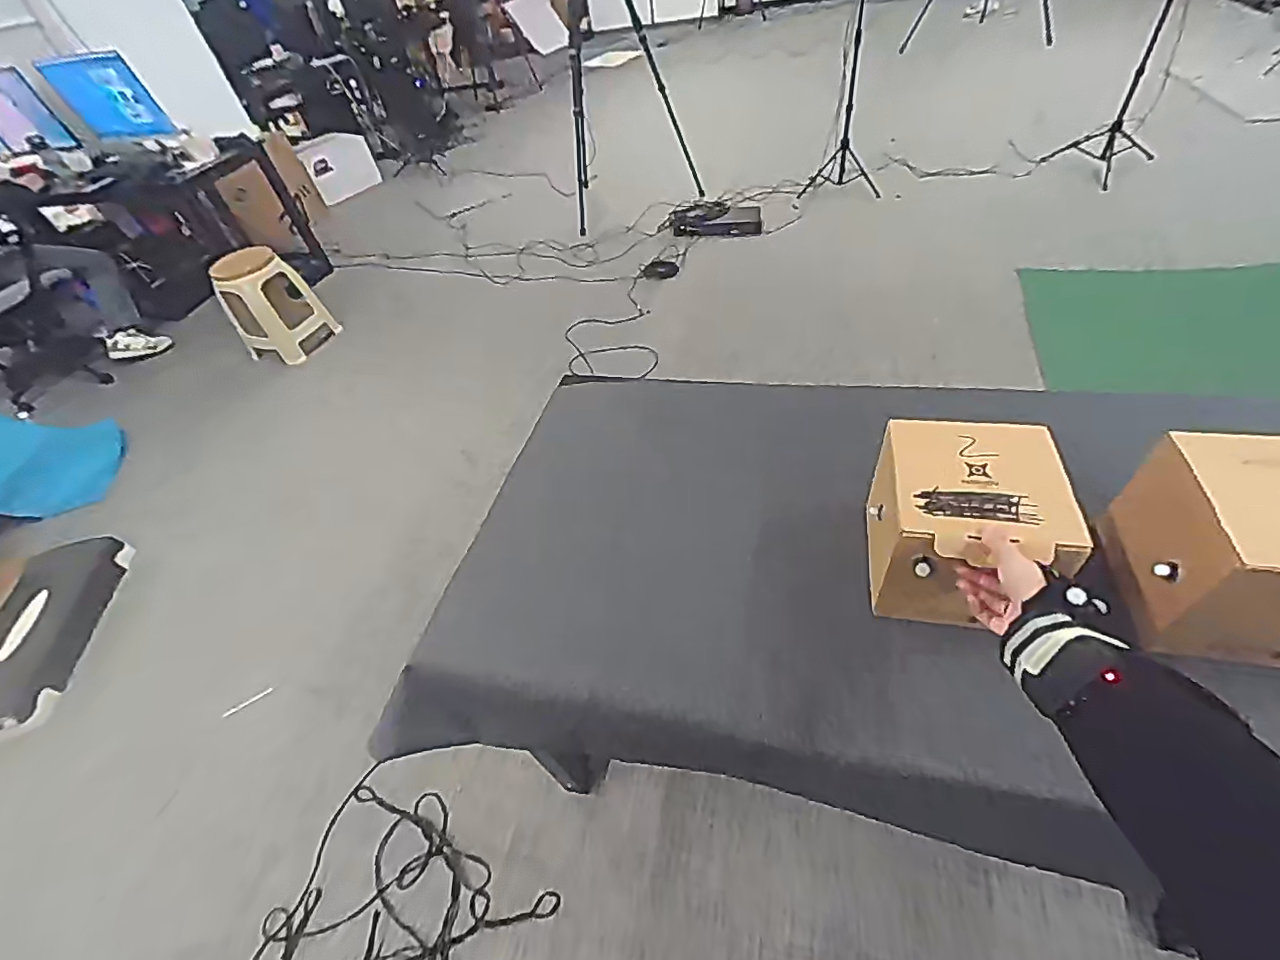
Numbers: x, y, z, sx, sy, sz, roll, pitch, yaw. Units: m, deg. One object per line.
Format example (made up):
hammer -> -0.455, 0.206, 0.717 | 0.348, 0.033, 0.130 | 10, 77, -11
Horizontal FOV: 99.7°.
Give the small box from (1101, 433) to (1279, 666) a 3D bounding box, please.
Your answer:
small box -> 0.629, 0.075, 0.555 | 0.168, 0.176, 0.179 | 5, 48, 14
